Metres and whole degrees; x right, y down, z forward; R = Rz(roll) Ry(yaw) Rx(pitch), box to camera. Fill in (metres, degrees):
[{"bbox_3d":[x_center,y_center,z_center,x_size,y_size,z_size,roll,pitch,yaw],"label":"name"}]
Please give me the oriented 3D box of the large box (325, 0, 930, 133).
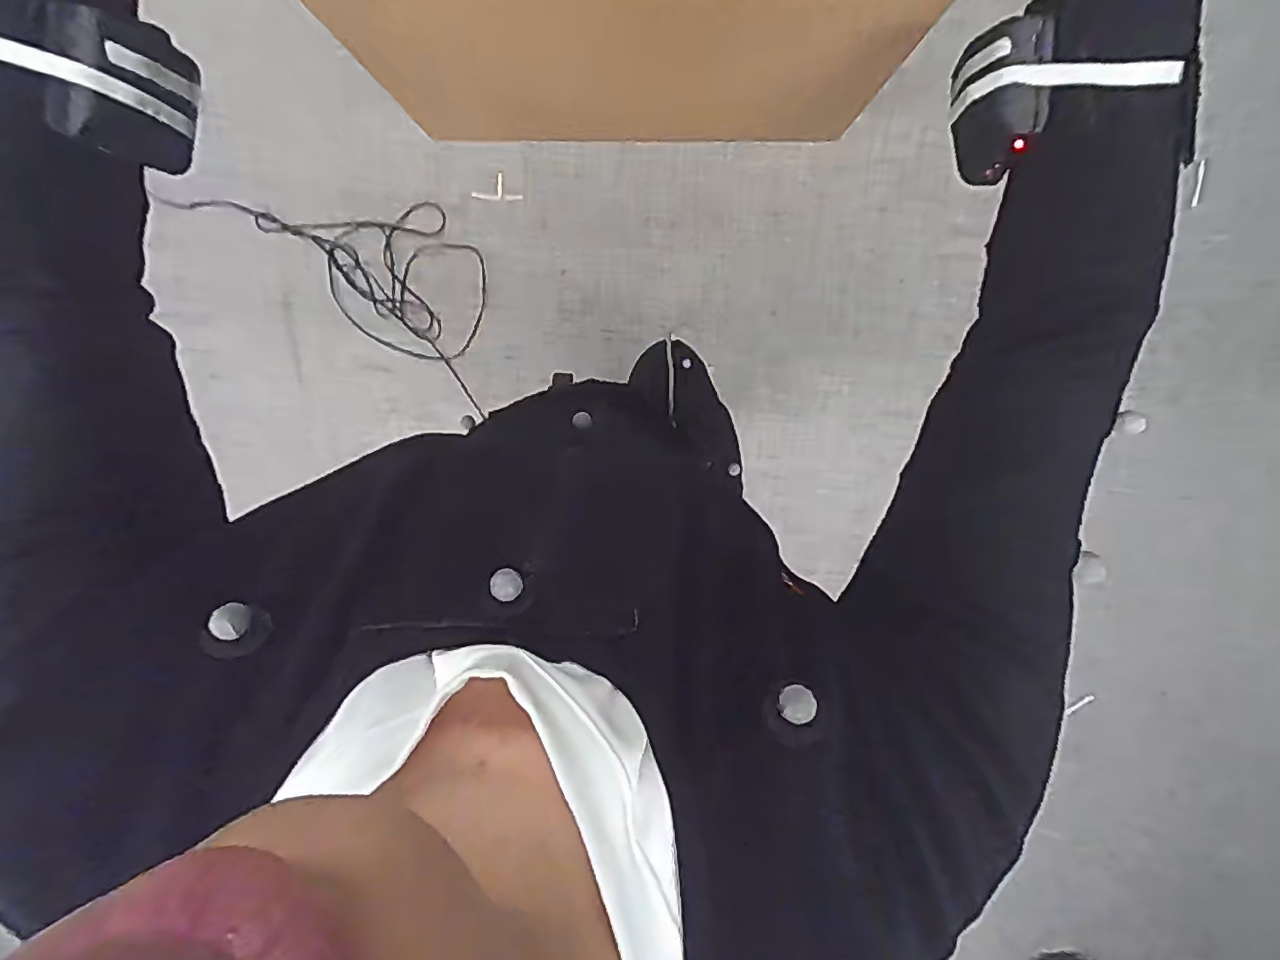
[{"bbox_3d":[-0.008,-0.461,0.353,0.408,0.320,0.320,0,103,0],"label":"large box"}]
